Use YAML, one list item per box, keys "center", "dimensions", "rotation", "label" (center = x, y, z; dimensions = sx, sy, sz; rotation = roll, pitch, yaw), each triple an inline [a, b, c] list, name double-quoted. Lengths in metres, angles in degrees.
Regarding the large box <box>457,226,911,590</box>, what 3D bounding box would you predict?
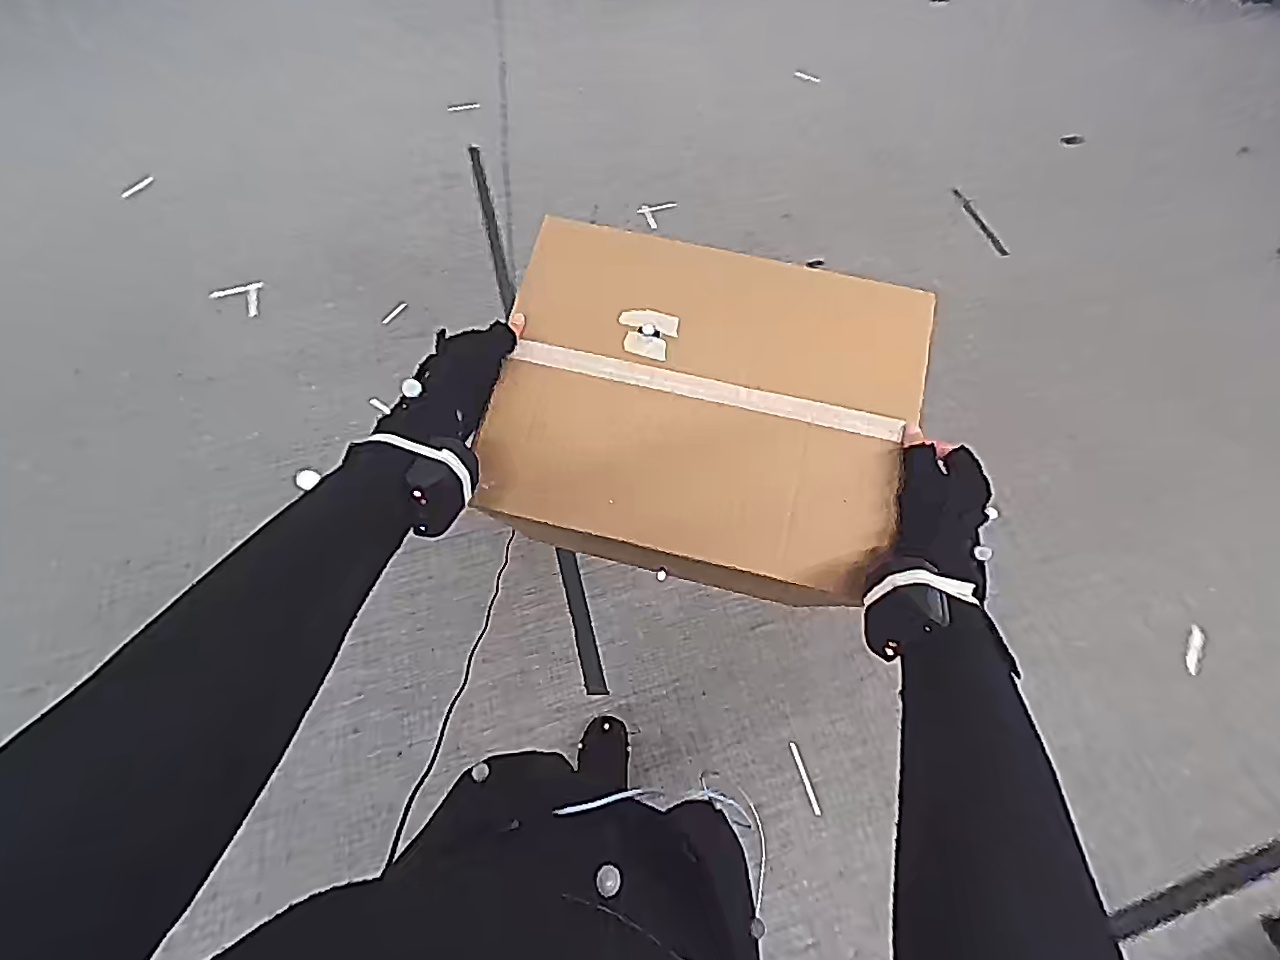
- center: [0.056, -0.055, 0.676]
  dimensions: [0.408, 0.320, 0.320]
  rotation: [13, 77, 5]
  label: "large box"
